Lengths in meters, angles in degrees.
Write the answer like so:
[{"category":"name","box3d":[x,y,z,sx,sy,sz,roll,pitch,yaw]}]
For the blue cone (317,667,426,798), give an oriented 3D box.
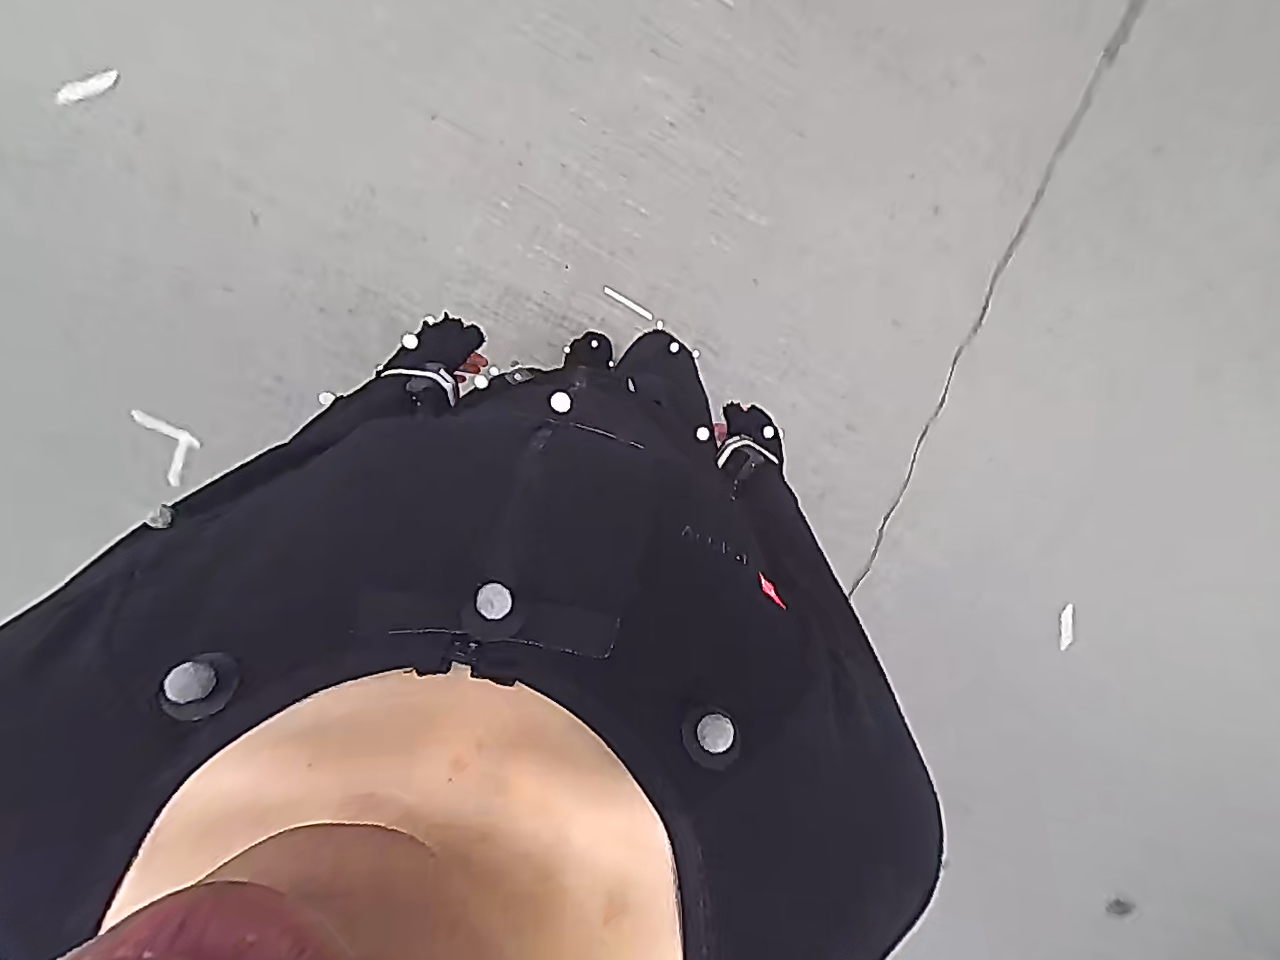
[{"category":"blue cone","box3d":[-0.761,0.717,1.498,0.192,0.380,0.193,26,102,-7]}]
